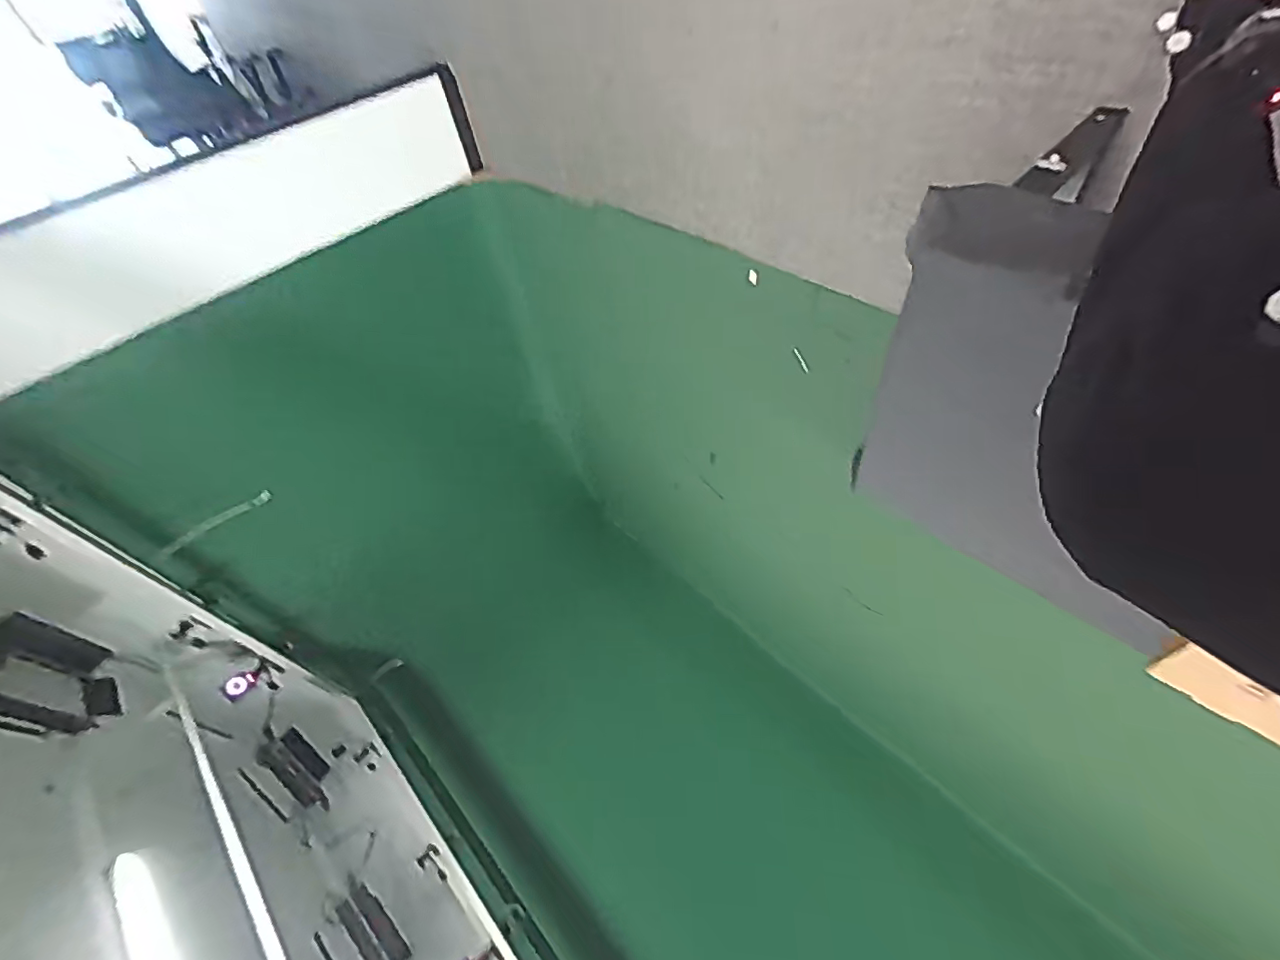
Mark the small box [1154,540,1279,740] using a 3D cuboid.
[{"bbox_3d":[0.863,0.217,0.727,0.168,0.176,0.179,32,151,32],"label":"small box"}]
